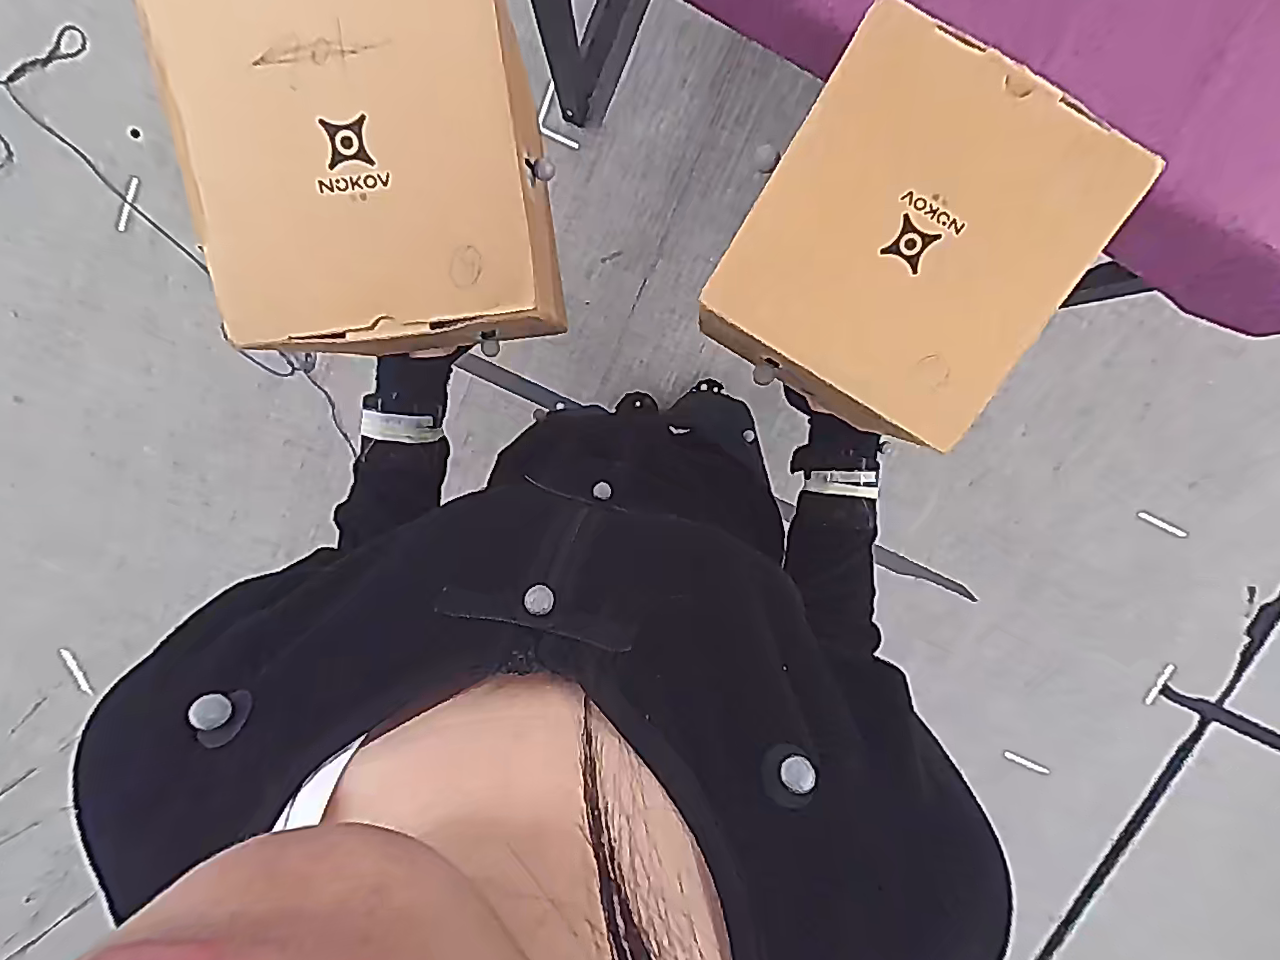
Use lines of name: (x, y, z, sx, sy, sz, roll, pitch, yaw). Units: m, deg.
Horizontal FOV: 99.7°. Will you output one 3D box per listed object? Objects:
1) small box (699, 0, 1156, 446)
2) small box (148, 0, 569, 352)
small box: (0.156, -0.143, 0.364, 0.168, 0.176, 0.179, 32, 100, 1)
small box: (-0.143, -0.179, 0.347, 0.168, 0.176, 0.179, -8, 101, -2)
